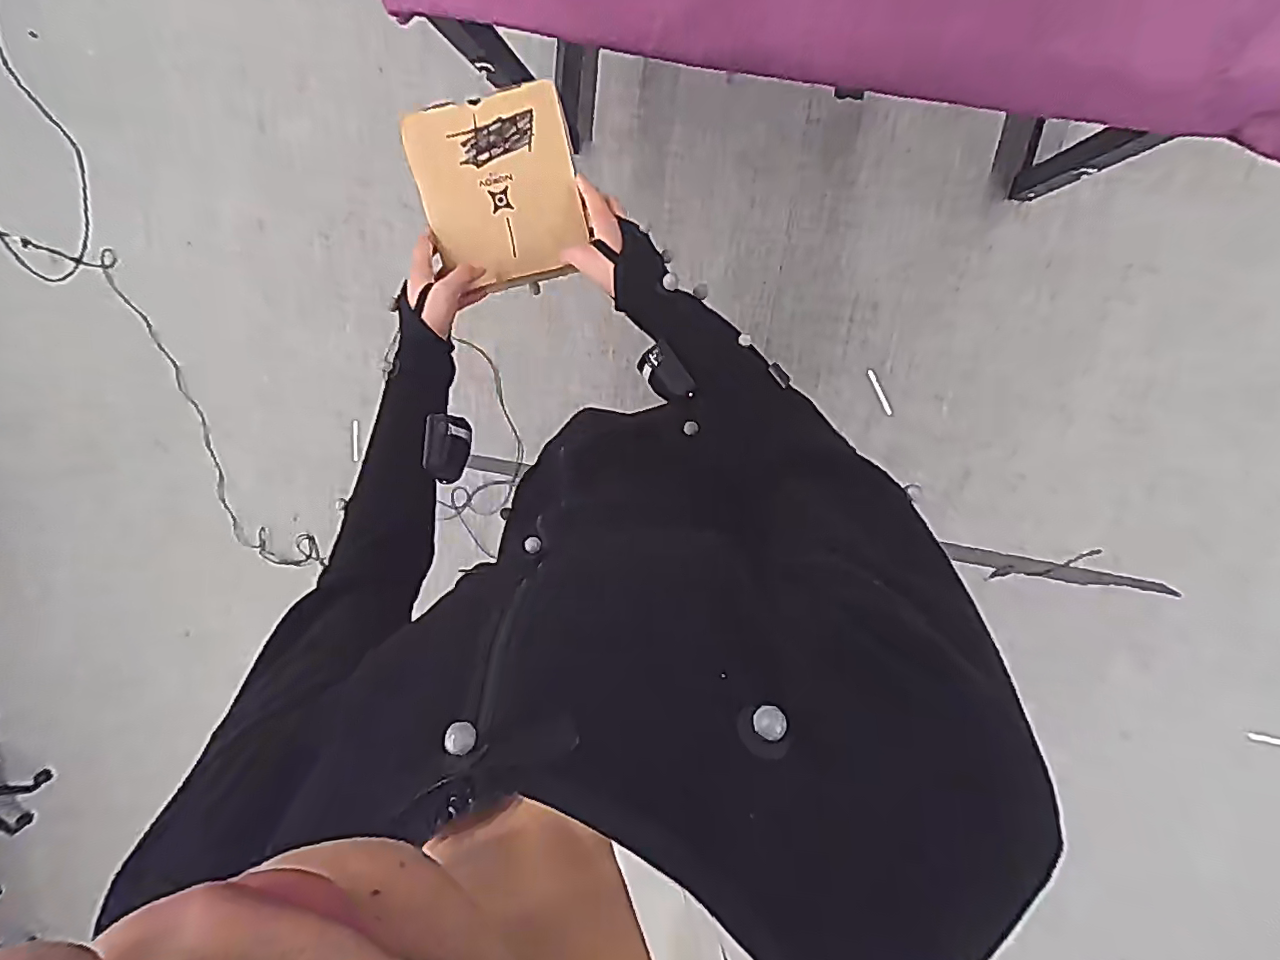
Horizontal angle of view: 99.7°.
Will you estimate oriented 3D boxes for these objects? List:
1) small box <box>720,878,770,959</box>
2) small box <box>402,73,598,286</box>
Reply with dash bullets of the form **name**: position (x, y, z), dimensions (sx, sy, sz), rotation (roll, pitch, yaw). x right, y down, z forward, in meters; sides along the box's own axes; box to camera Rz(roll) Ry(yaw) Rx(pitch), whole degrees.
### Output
- **small box**: position (0.385, 1.623, 1.993), dimensions (0.168, 0.176, 0.179), rotation (4, 106, 8)
- **small box**: position (-0.148, -0.336, 0.642), dimensions (0.168, 0.176, 0.179), rotation (-12, 110, 2)
